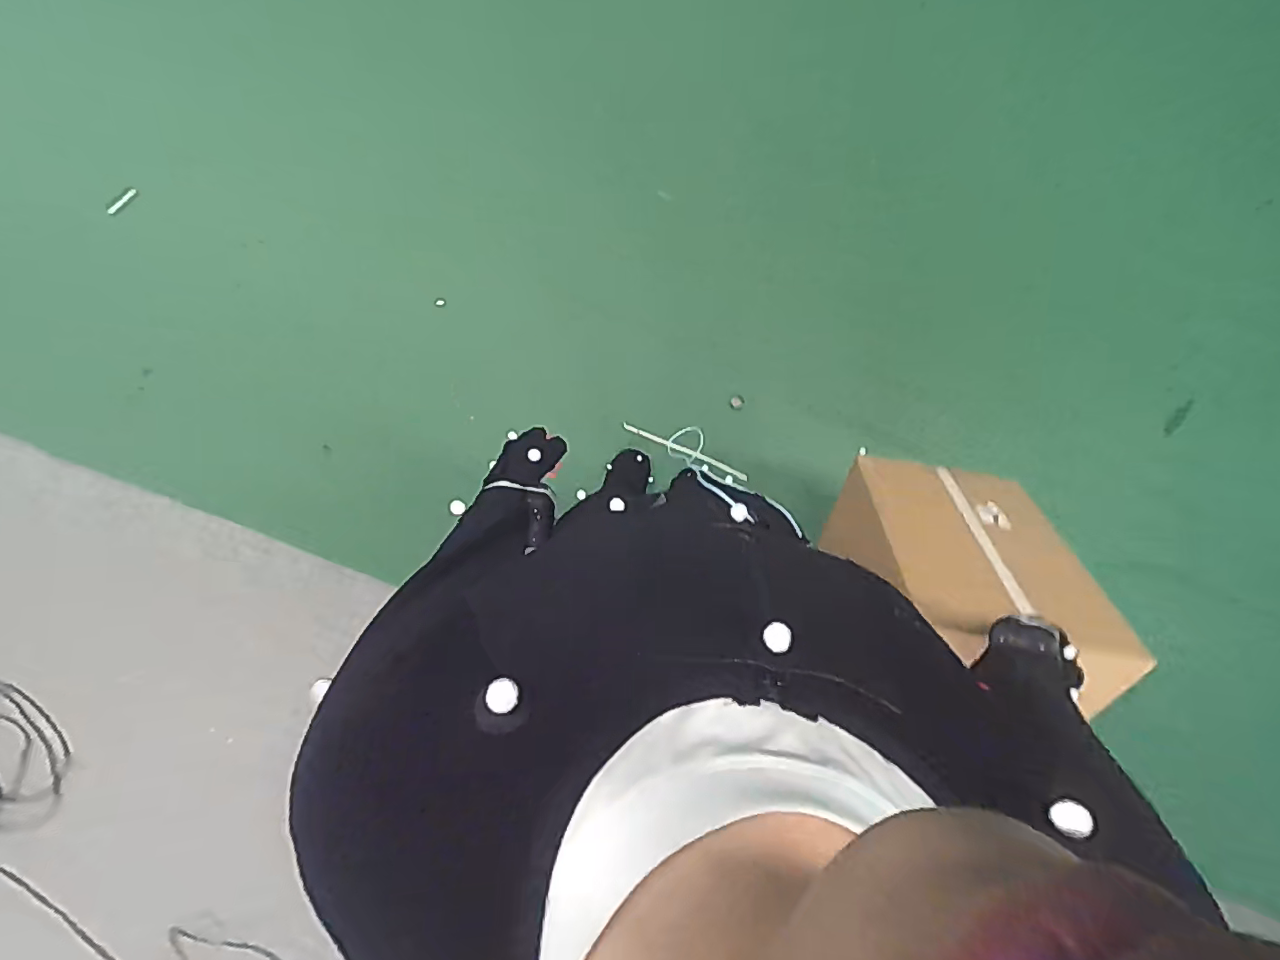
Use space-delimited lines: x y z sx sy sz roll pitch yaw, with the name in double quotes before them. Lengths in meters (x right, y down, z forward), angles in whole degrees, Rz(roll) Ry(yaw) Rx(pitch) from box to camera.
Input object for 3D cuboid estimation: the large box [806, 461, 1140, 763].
"large box" 0.518 0.220 0.965 0.320 0.408 0.320 10 126 0
